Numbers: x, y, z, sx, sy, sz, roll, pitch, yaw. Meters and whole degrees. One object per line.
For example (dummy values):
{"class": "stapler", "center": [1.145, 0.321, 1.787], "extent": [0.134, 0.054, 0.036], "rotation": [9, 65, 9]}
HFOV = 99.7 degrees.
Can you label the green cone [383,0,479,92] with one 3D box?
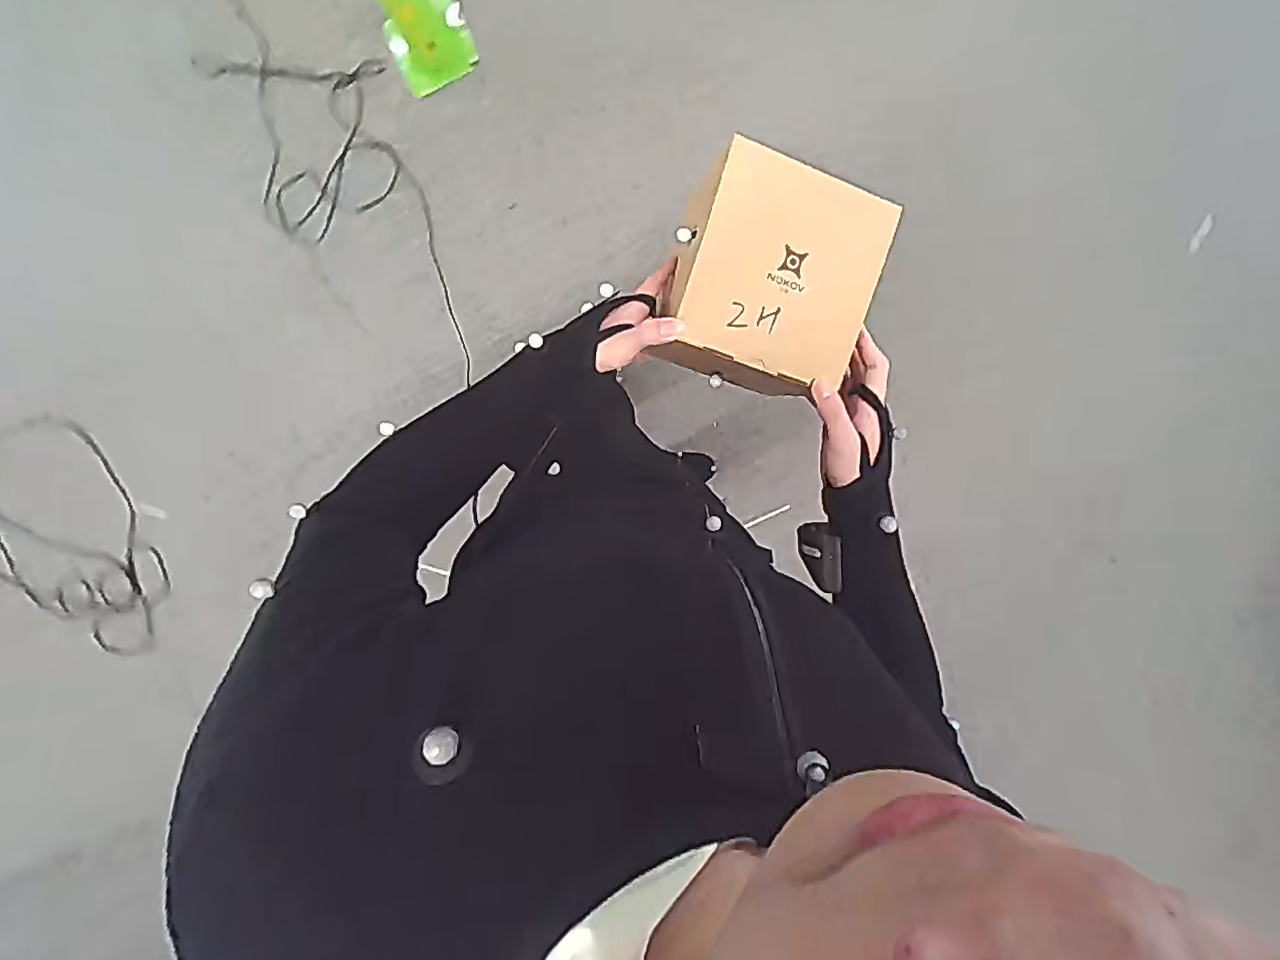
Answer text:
{"class": "green cone", "center": [-0.549, -1.119, 1.239], "extent": [0.202, 0.368, 0.200], "rotation": [-24, 98, 6]}
